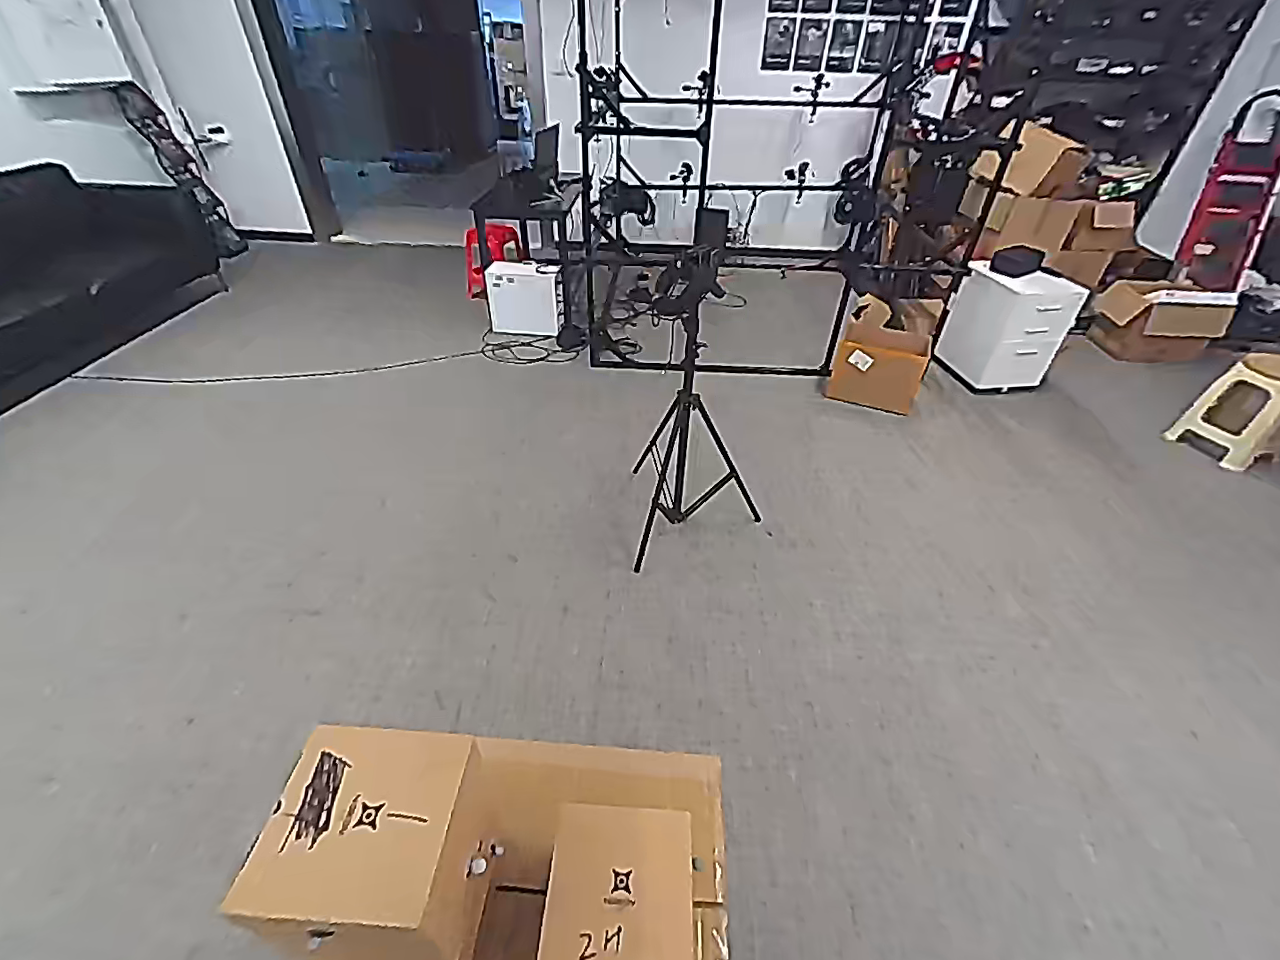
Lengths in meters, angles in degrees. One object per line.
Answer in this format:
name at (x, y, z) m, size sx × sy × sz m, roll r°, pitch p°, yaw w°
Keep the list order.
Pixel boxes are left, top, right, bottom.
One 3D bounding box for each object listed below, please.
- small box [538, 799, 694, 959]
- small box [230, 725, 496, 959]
small box at (-0.021, 0.525, 0.665) m, size 0.168 × 0.176 × 0.179 m, roll 1°, pitch 40°, yaw 3°
small box at (-0.268, 0.384, 0.575) m, size 0.179 × 0.176 × 0.168 m, roll 3°, pitch 39°, yaw 1°
